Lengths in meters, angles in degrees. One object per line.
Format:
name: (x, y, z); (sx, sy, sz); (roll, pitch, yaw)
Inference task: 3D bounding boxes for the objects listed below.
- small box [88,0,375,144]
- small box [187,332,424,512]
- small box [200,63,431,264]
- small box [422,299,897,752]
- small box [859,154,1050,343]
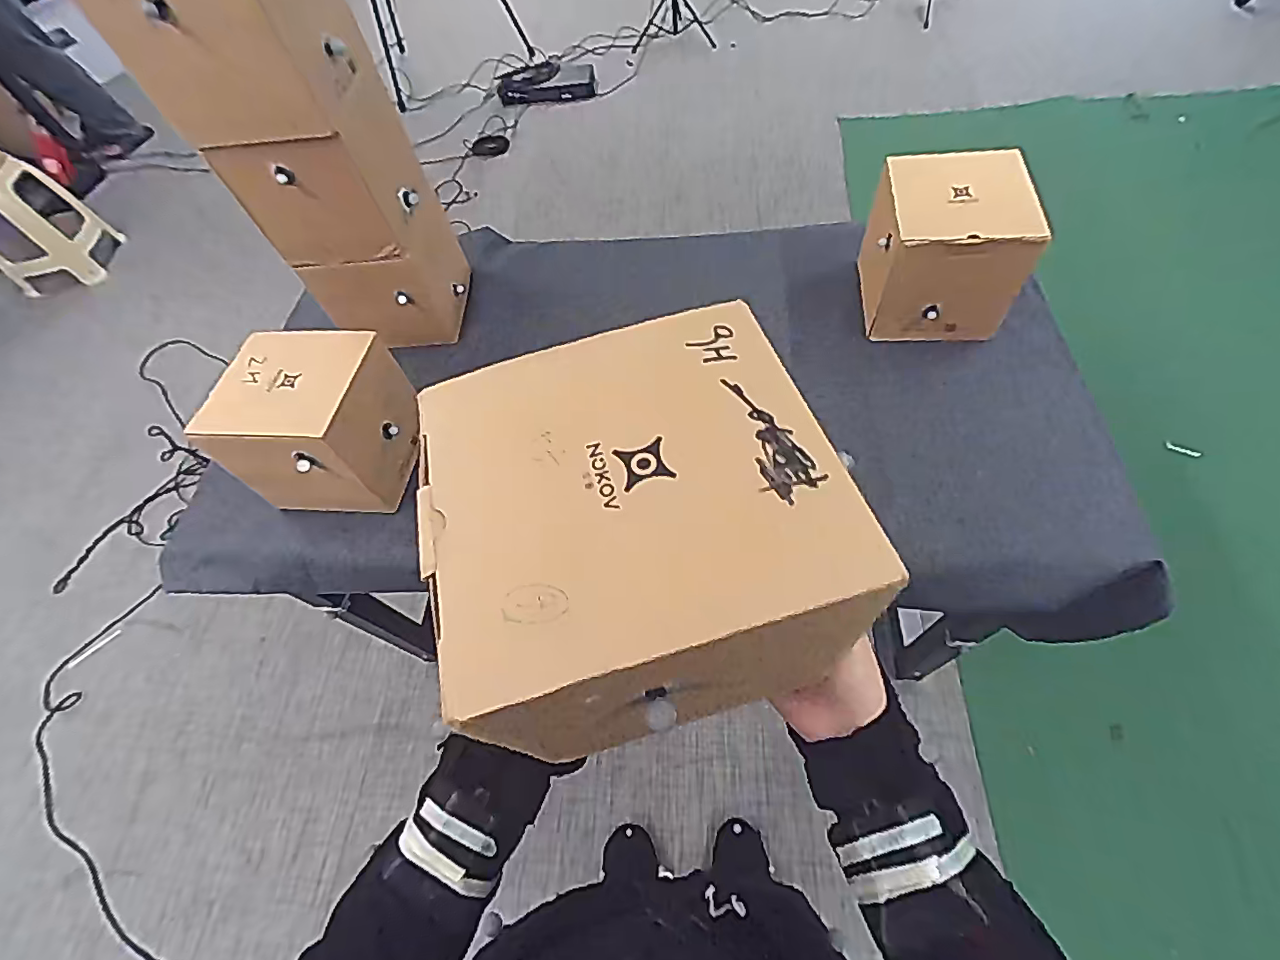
small box: (-0.419, -0.480, 0.565); (0.179, 0.176, 0.168); (-1, 62, 5)
small box: (-0.403, -0.070, 0.698); (0.179, 0.176, 0.168); (2, 57, 8)
small box: (-0.406, -0.407, 0.712); (0.179, 0.176, 0.168); (-3, 62, 4)
small box: (0.003, 0.037, 0.304); (0.179, 0.176, 0.168); (-18, 58, -3)
small box: (0.410, -0.313, 0.742); (0.168, 0.176, 0.179); (2, 61, 9)
